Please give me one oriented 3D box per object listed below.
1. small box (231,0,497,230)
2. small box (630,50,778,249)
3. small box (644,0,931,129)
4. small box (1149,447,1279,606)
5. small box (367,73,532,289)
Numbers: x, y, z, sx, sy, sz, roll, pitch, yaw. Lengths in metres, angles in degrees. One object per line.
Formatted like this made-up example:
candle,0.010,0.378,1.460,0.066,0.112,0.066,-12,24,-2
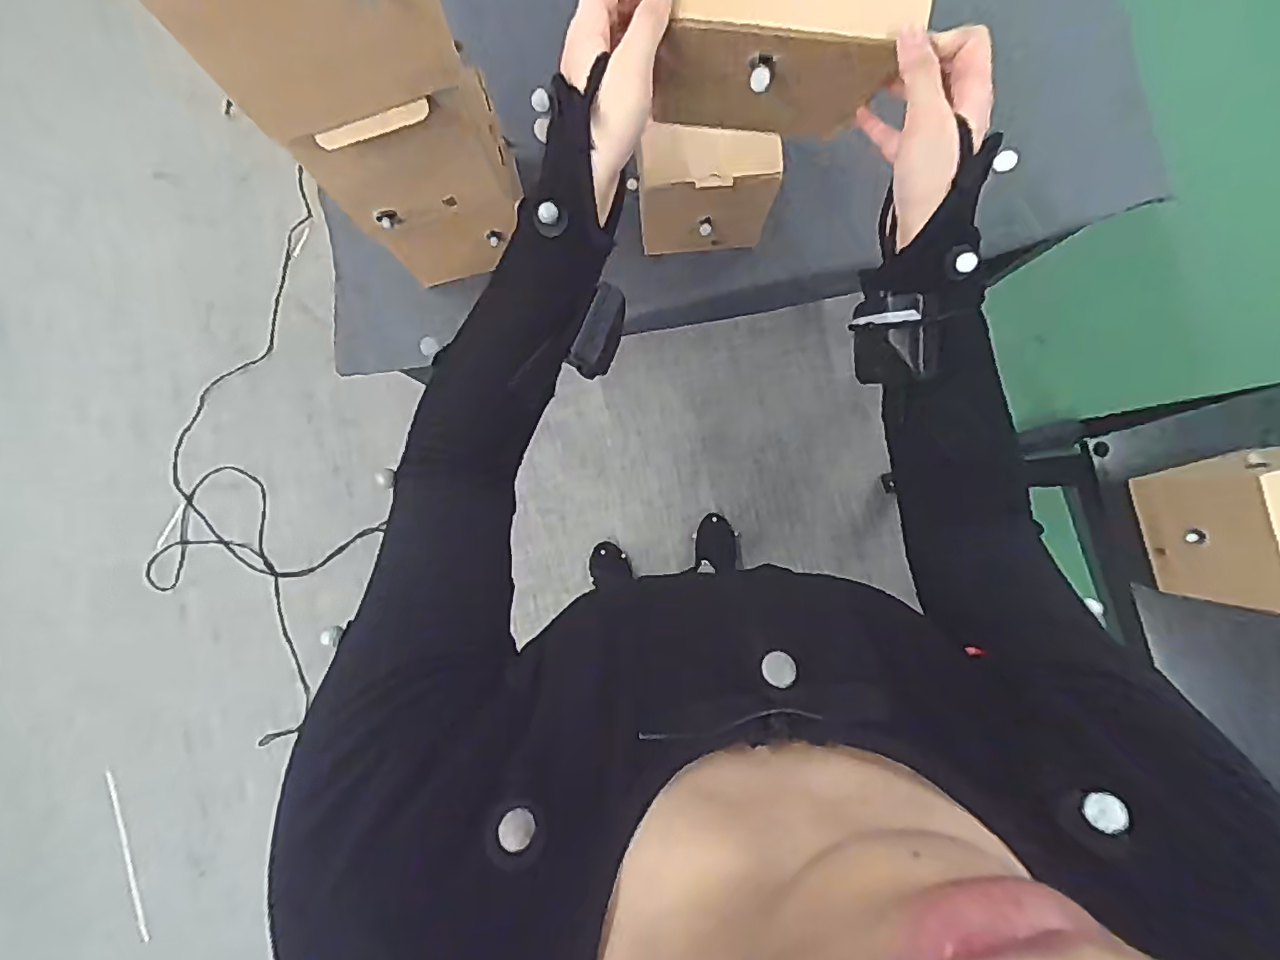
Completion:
small box,-0.265,-0.387,0.554,0.168,0.176,0.179,-19,84,-1
small box,0.078,-0.423,0.712,0.168,0.176,0.179,-5,87,2
small box,0.100,-0.376,0.390,0.179,0.176,0.168,6,107,2
small box,0.796,0.053,0.674,0.179,0.176,0.168,-15,88,0
small box,-0.252,-0.381,0.718,0.179,0.176,0.168,-15,85,1
